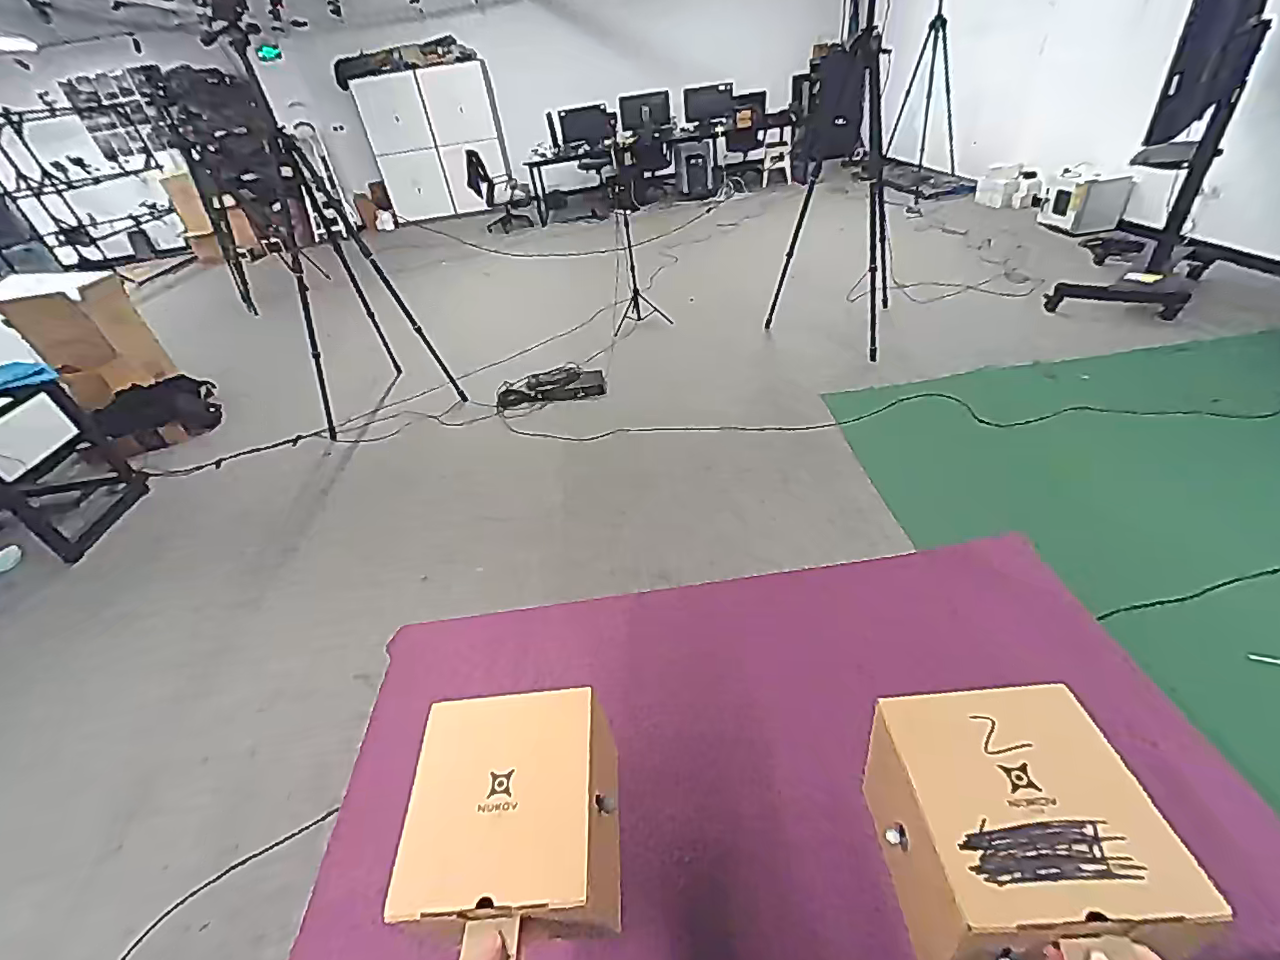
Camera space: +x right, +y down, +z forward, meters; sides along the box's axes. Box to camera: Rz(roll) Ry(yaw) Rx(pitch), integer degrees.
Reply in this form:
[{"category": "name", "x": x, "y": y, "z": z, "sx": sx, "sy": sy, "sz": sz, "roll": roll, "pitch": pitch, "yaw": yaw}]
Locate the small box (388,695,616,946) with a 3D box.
[{"category": "small box", "x": -0.119, "y": 0.344, "z": 0.547, "sx": 0.168, "sy": 0.176, "sz": 0.179, "roll": -7, "pitch": 45, "yaw": 3}]
